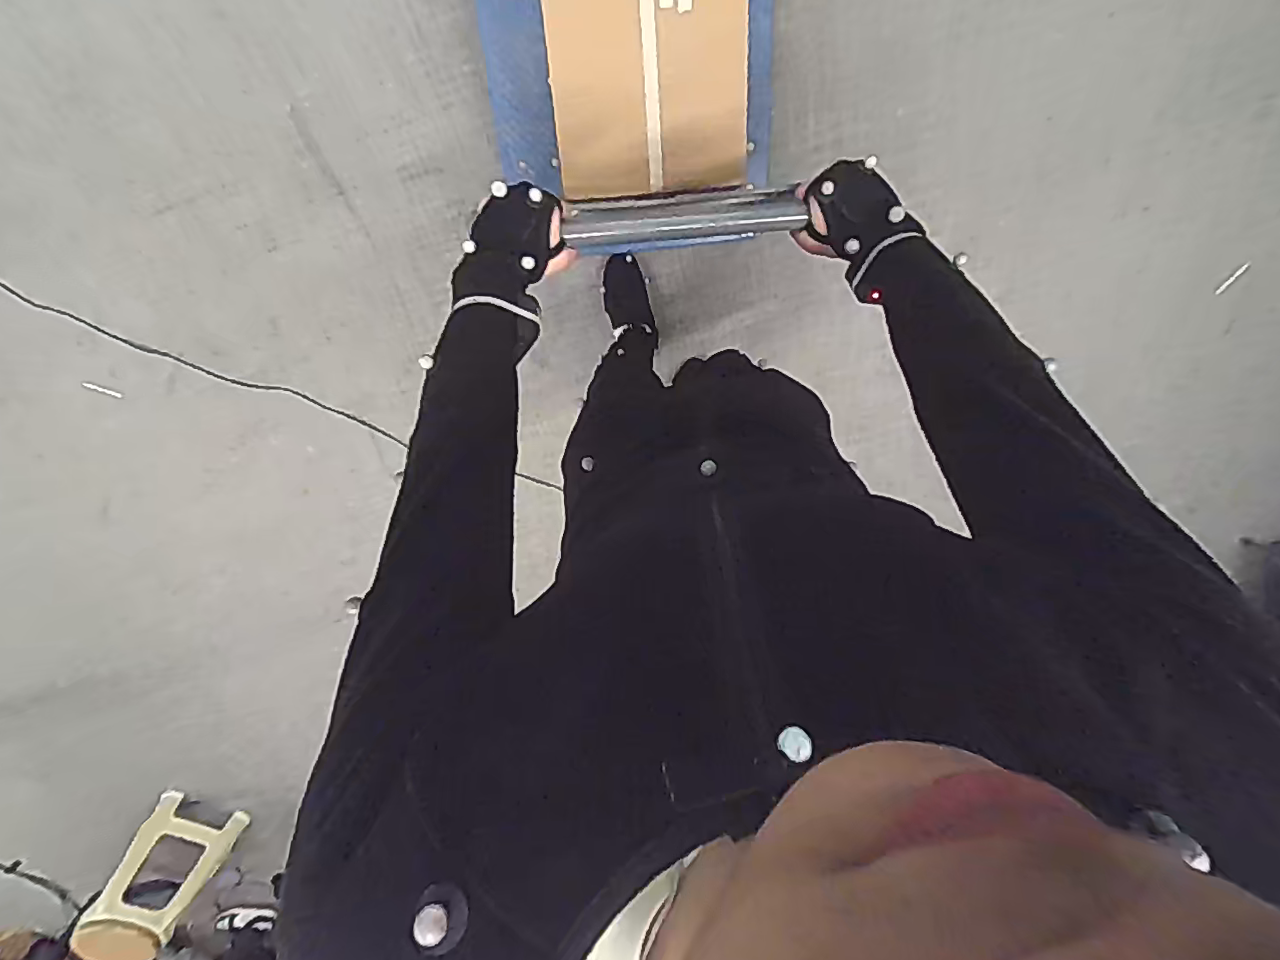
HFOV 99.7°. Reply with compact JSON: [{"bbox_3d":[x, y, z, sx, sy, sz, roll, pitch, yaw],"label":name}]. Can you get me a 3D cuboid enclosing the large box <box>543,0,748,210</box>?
[{"bbox_3d":[0.011,-0.729,0.979,0.320,0.320,0.408,-5,115,0],"label":"large box"}]
